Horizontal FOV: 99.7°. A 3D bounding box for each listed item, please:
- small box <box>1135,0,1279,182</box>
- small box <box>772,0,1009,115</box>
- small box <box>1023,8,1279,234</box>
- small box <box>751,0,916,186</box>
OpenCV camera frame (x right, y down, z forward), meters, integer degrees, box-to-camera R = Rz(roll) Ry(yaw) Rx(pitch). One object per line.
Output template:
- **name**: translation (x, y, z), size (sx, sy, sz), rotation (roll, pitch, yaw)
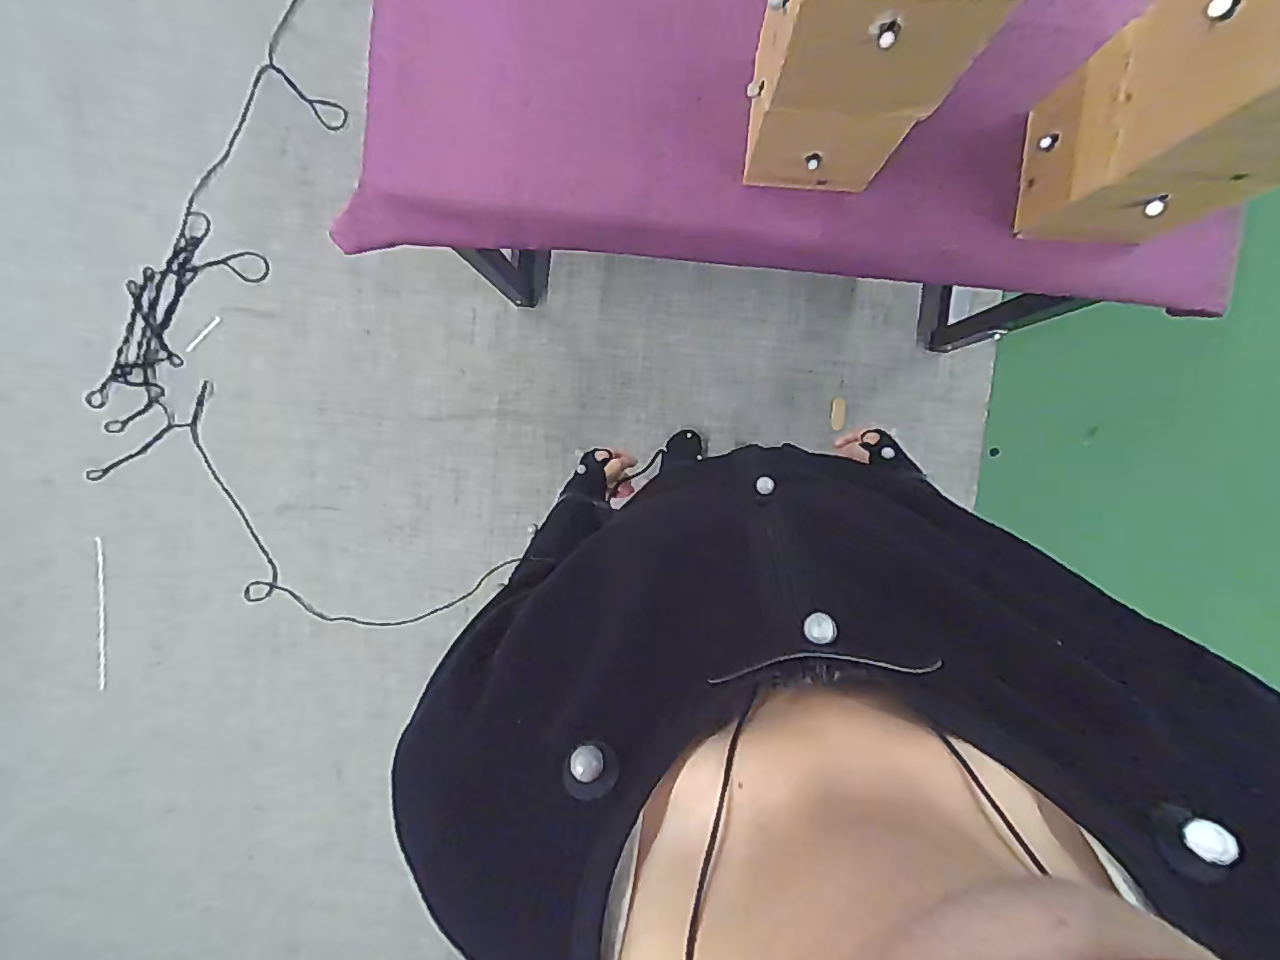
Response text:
- **small box**: translation (0.593, -0.395, 0.475), size (0.168, 0.176, 0.179), rotation (5, 95, 6)
- **small box**: translation (0.225, -0.470, 0.498), size (0.179, 0.176, 0.168), rotation (5, 95, 4)
- **small box**: translation (0.604, -0.406, 0.639), size (0.179, 0.176, 0.168), rotation (4, 95, 5)
- **small box**: translation (0.233, -0.487, 0.660), size (0.168, 0.176, 0.179), rotation (6, 93, 4)
